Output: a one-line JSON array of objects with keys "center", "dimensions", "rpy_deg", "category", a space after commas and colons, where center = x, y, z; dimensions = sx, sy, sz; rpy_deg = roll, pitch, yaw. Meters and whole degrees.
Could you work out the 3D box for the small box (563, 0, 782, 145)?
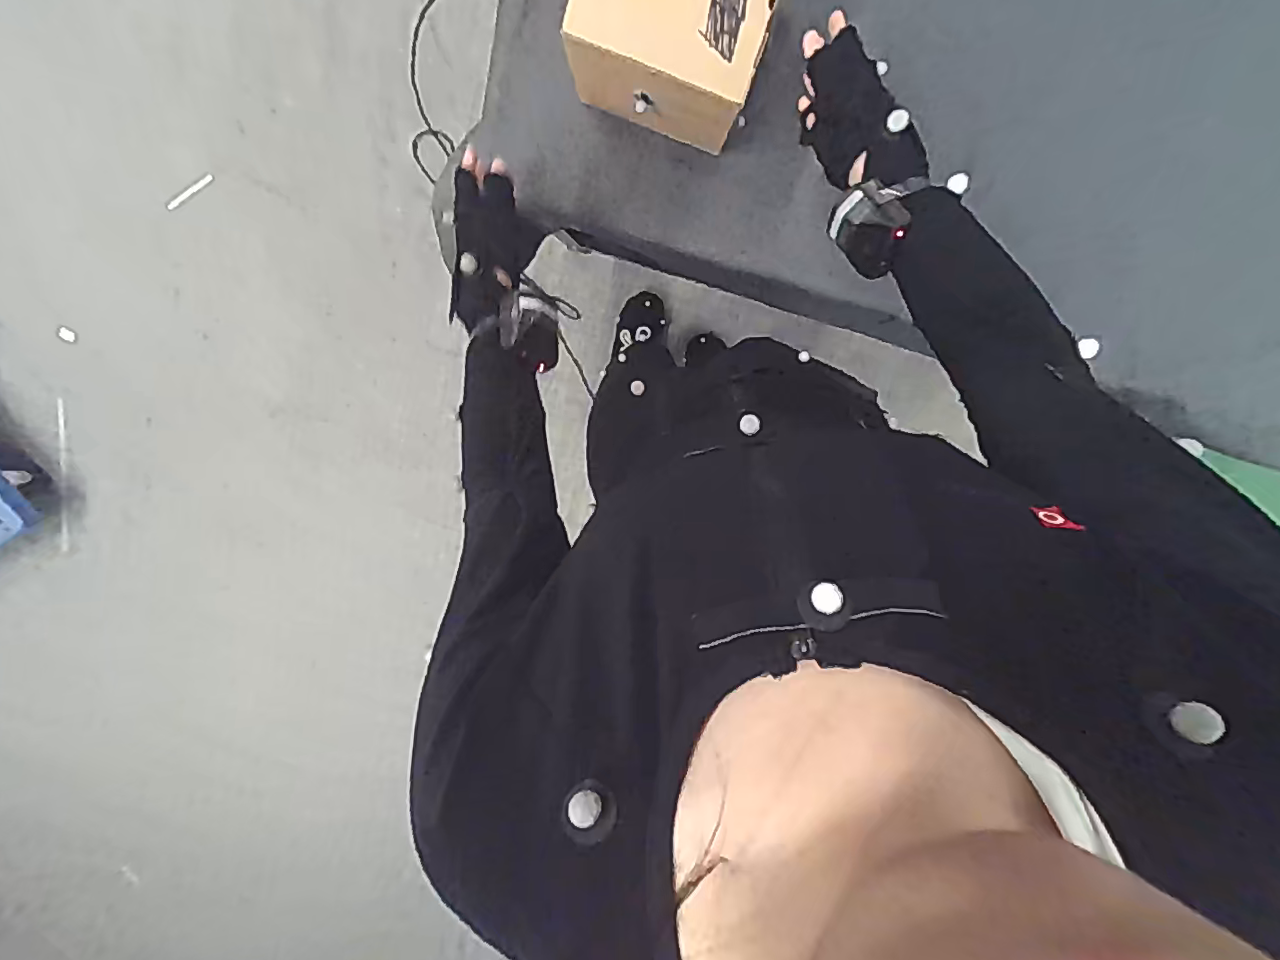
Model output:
[{"center": [0.041, -0.465, 0.539], "dimensions": [0.179, 0.176, 0.168], "rpy_deg": [19, 106, -5], "category": "small box"}]
